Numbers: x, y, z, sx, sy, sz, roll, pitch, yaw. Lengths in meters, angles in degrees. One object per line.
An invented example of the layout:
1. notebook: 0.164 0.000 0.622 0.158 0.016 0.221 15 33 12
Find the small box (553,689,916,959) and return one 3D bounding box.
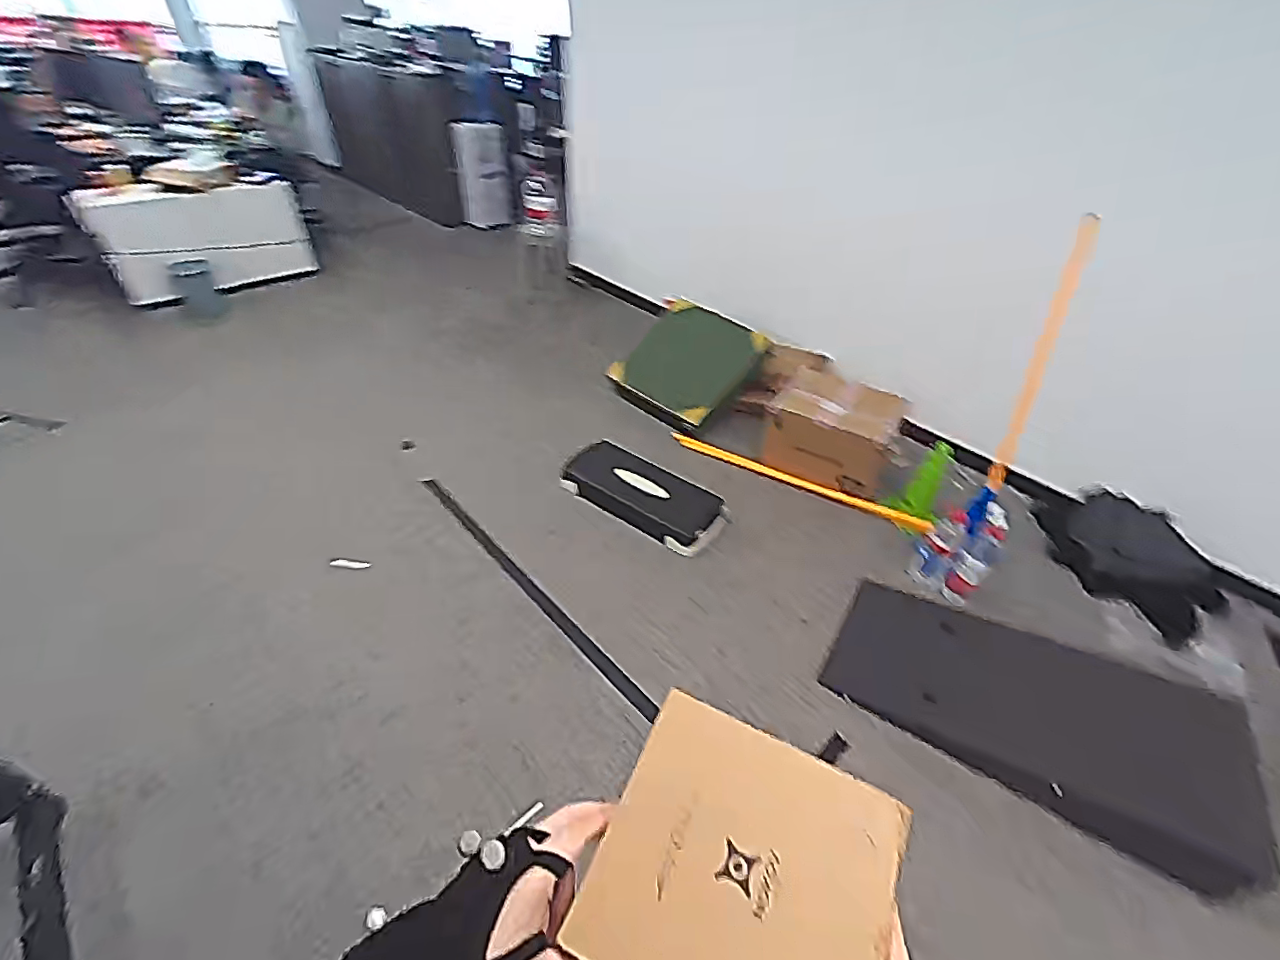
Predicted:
1. small box: 0.065 0.287 0.387 0.179 0.176 0.168 20 53 19
